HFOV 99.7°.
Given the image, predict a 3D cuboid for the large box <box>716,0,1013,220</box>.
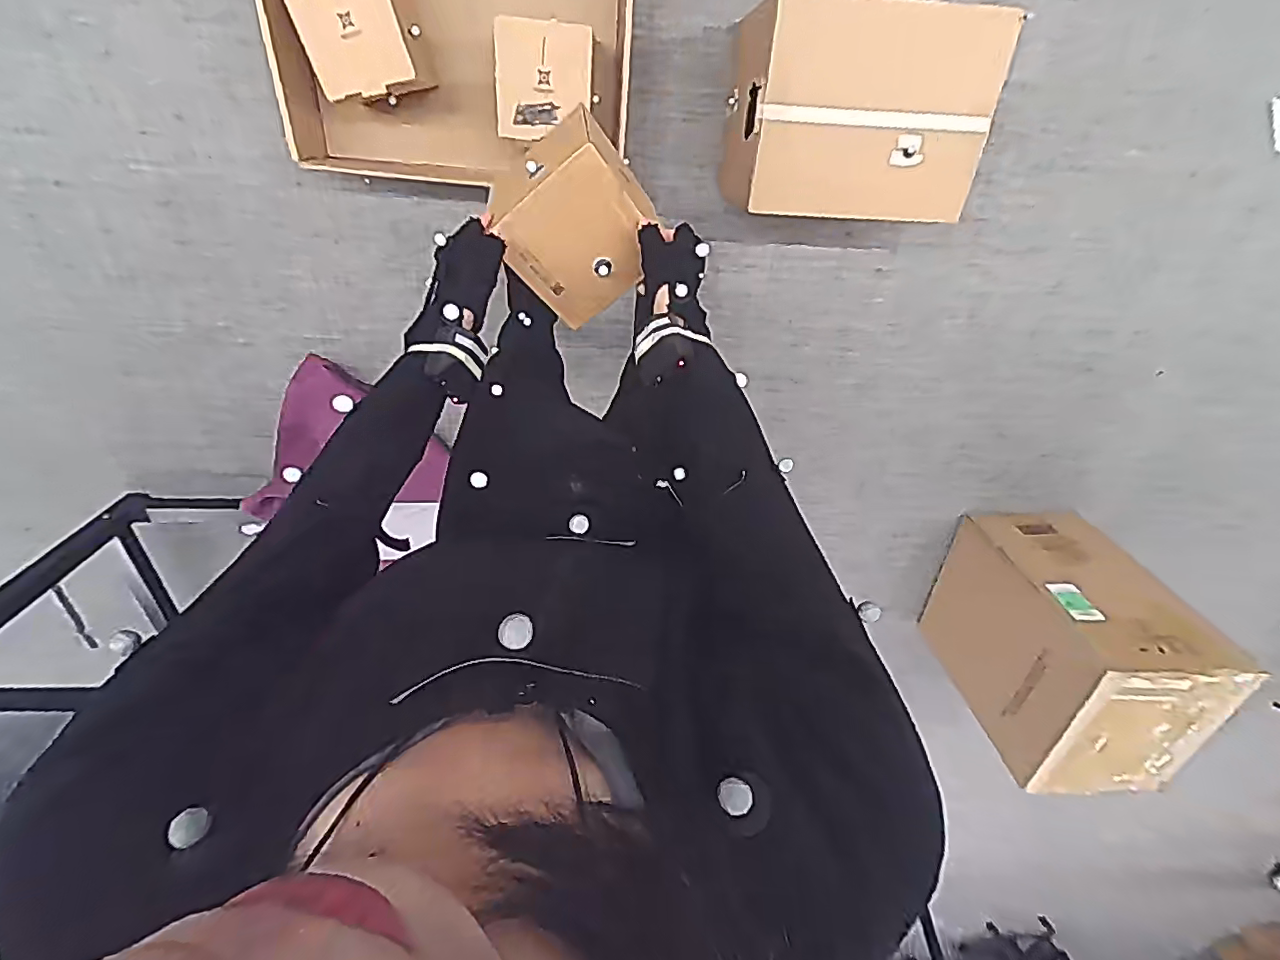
[{"bbox_3d":[0.382,-0.696,1.050,0.408,0.320,0.320,0,123,-5],"label":"large box"}]
